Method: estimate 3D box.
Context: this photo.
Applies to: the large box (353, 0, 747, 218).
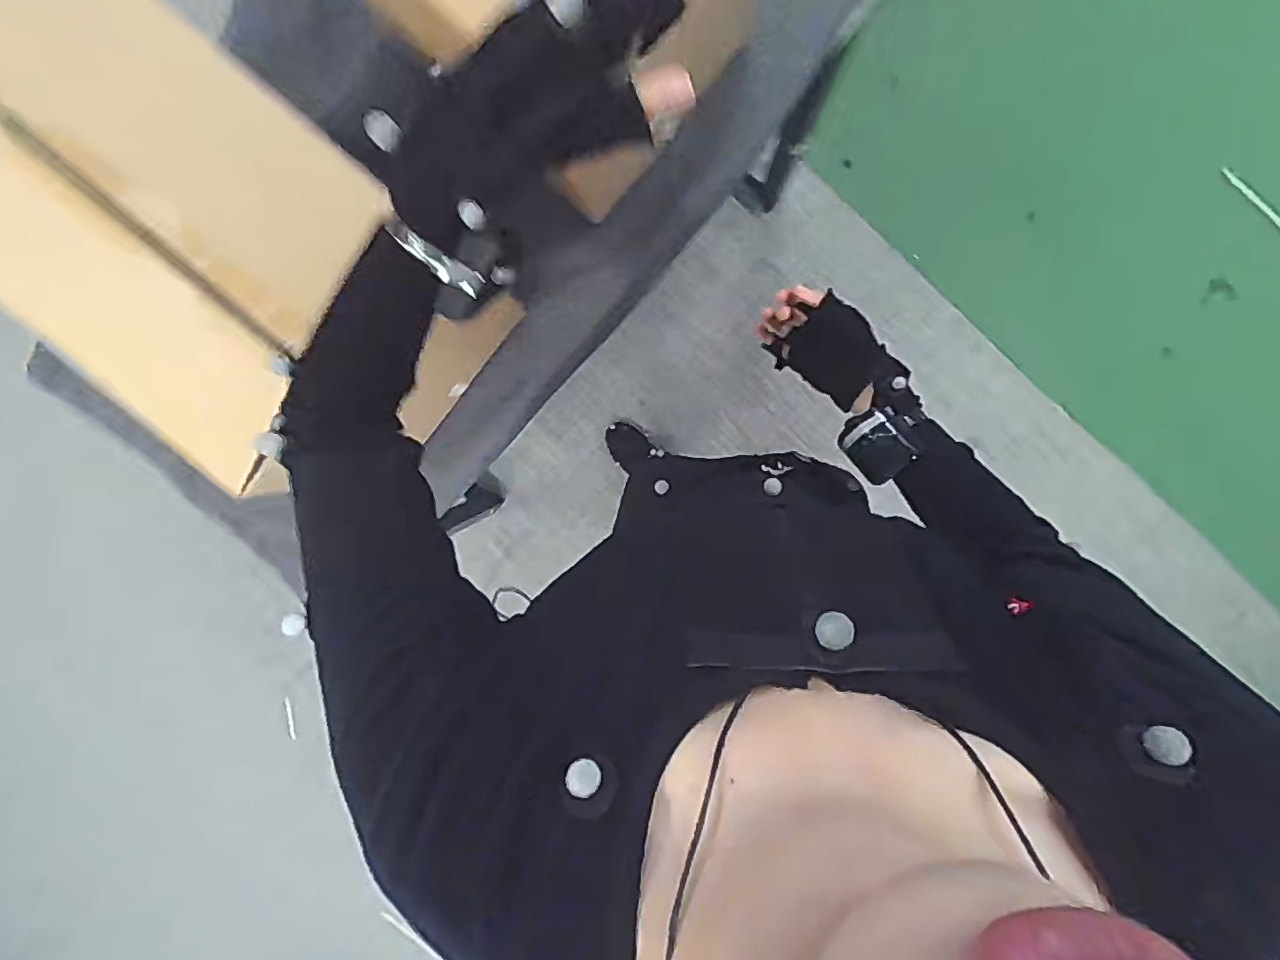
[{"bbox_3d":[-0.124,-0.580,0.584,0.408,0.320,0.320,41,97,1],"label":"large box"}]
